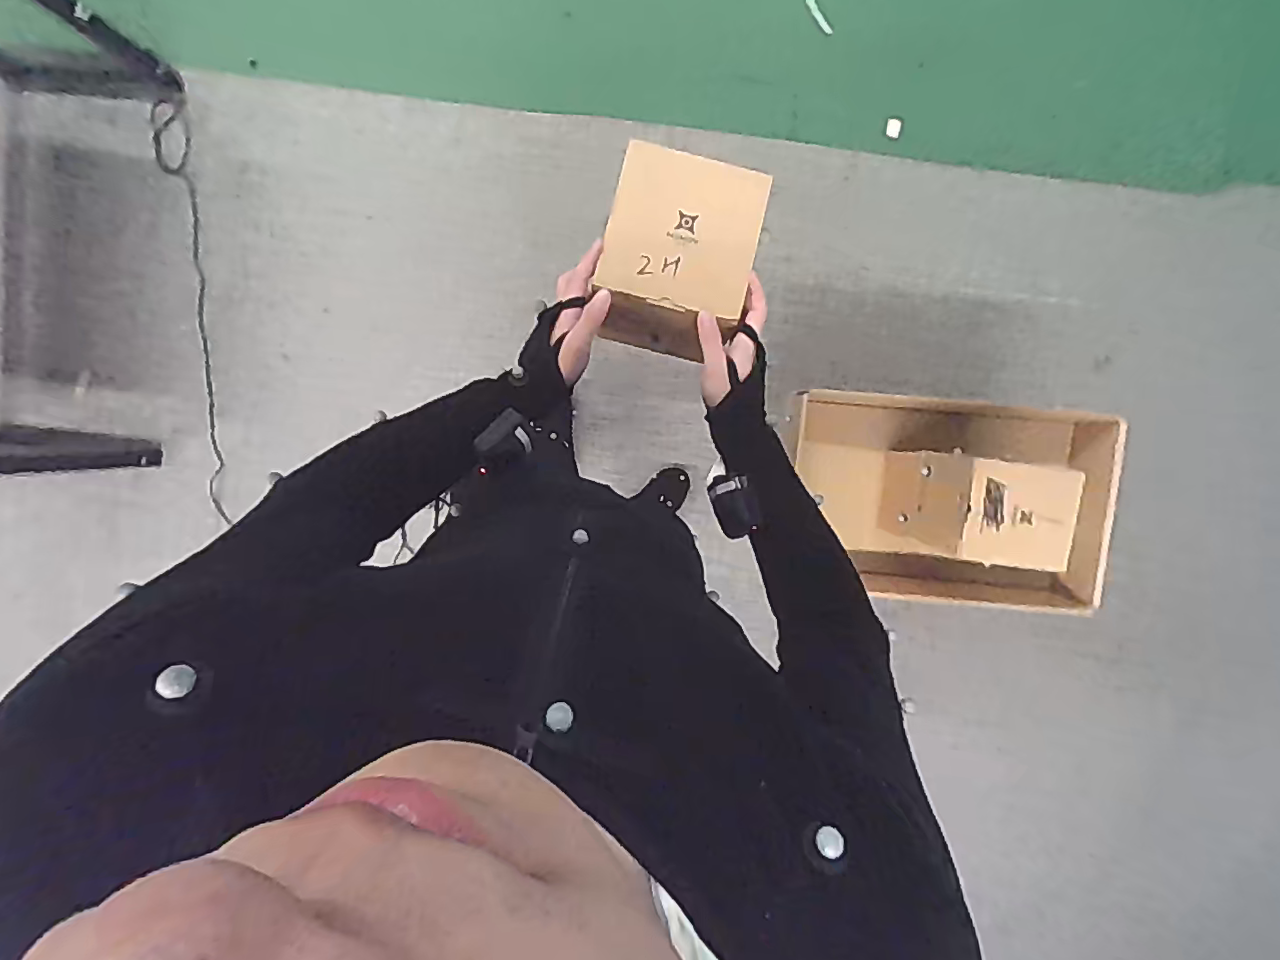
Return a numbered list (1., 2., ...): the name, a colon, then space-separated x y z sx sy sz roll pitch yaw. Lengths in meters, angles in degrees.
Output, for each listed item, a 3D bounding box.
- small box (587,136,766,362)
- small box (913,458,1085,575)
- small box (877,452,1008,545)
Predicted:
1. small box: 0.037 -0.266 0.662 0.168 0.176 0.179 14 86 -1
2. small box: 0.606 0.054 0.938 0.179 0.176 0.168 8 95 0
3. small box: 0.605 0.037 1.101 0.168 0.176 0.179 6 96 1
